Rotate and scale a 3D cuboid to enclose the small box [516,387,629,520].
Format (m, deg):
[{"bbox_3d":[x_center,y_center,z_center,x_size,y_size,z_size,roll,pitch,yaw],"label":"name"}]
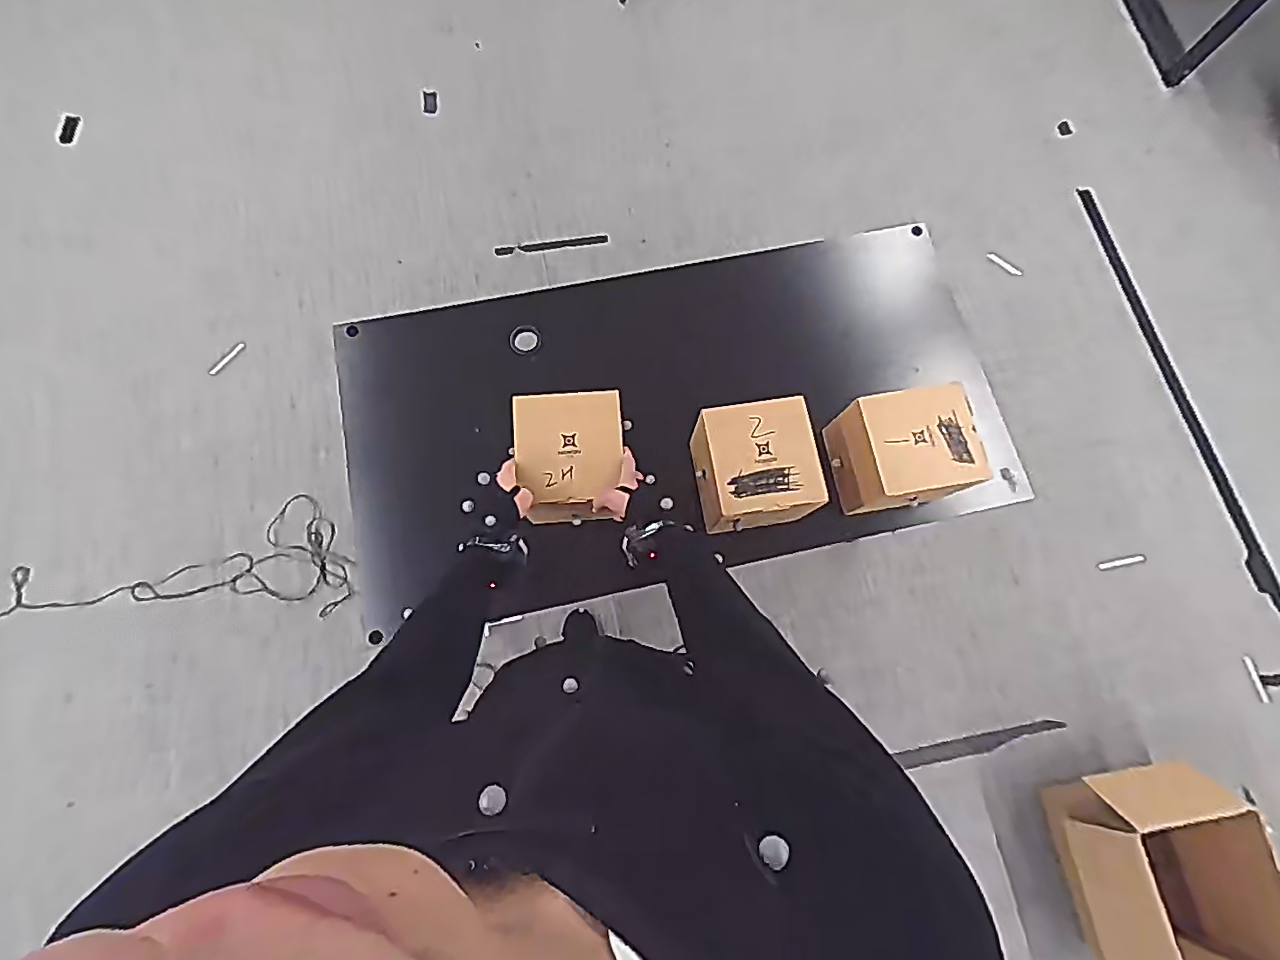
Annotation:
[{"bbox_3d":[-0.108,-0.037,0.889,0.168,0.176,0.179,-4,77,-3],"label":"small box"}]

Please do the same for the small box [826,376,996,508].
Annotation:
[{"bbox_3d":[0.440,-0.056,0.908,0.179,0.176,0.168,-10,77,-2],"label":"small box"}]
